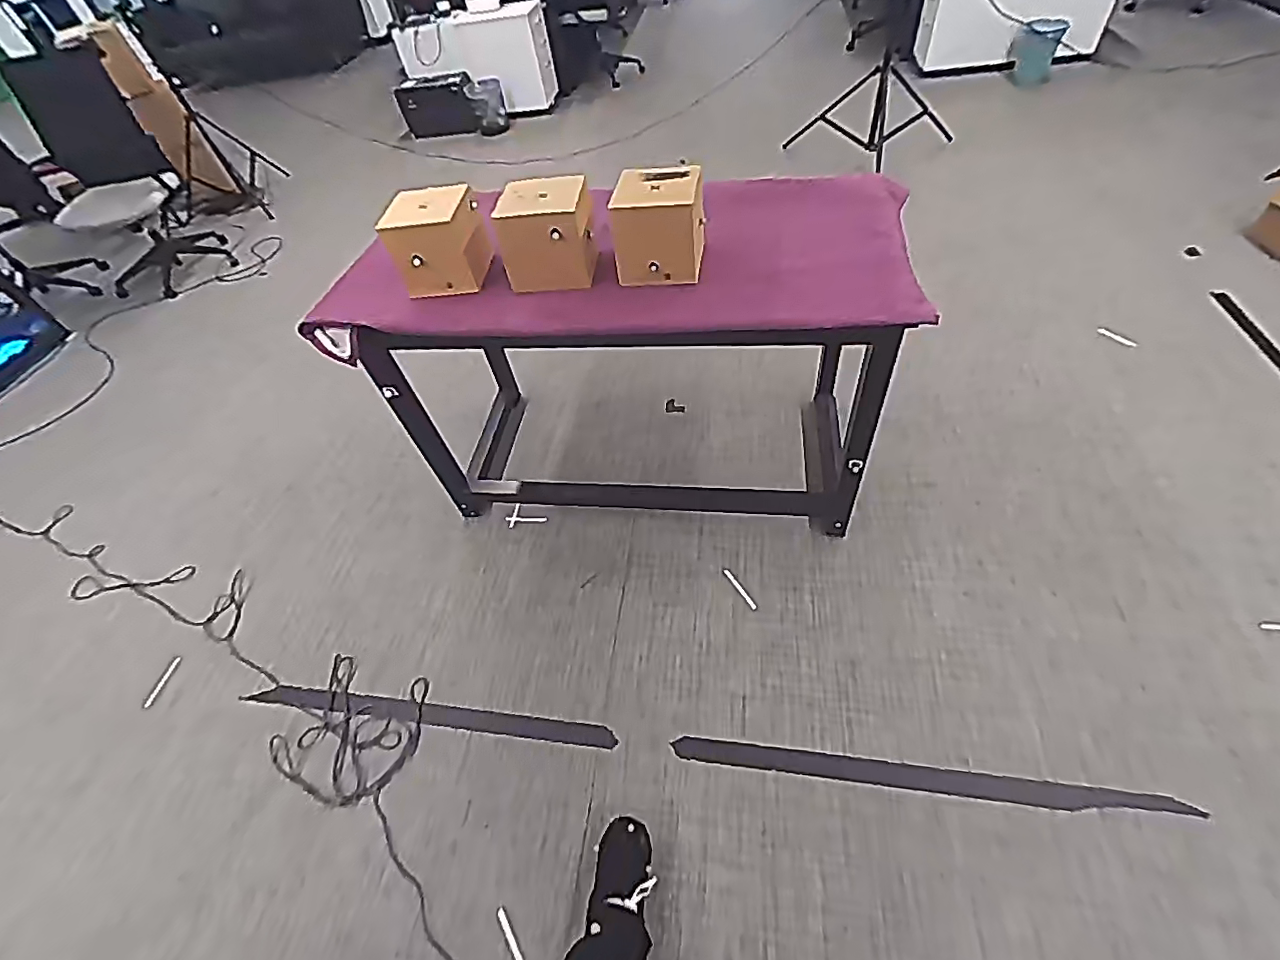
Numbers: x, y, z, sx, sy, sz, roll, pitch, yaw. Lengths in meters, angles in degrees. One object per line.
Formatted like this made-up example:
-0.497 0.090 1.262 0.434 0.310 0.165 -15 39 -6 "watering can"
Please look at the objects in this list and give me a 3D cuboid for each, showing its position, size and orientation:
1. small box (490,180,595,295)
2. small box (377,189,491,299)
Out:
-0.199 -0.521 1.170 0.179 0.176 0.168 -1 50 7 "small box"
-0.451 -0.523 1.217 0.168 0.176 0.179 -4 50 6 "small box"
